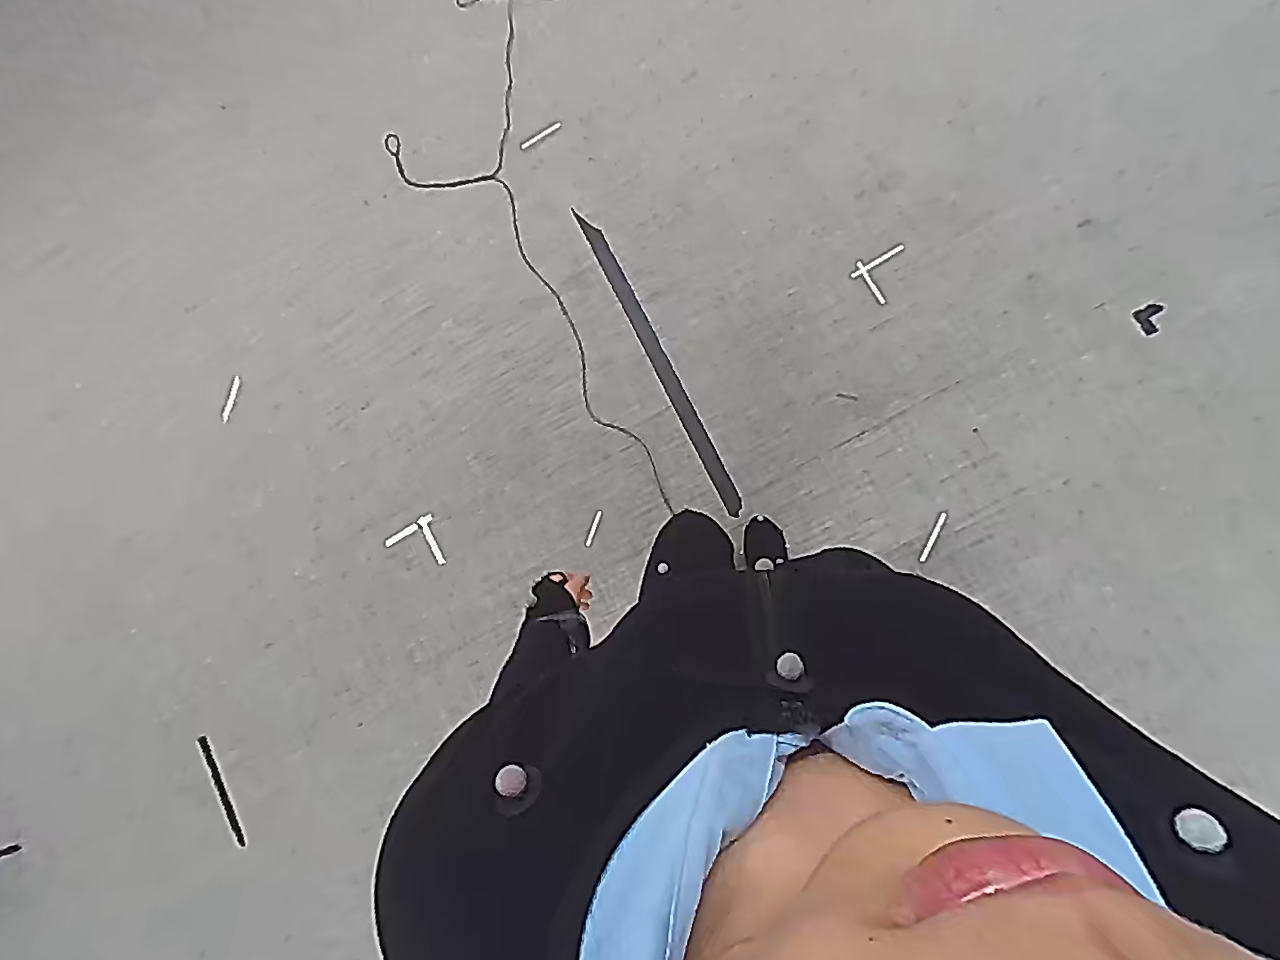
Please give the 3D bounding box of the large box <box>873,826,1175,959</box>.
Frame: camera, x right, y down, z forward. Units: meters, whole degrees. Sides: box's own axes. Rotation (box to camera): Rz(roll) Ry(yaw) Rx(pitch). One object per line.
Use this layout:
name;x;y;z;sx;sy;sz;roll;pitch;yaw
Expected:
large box;0.730;0.939;1.029;0.408;0.320;0.320;-19;83;8
